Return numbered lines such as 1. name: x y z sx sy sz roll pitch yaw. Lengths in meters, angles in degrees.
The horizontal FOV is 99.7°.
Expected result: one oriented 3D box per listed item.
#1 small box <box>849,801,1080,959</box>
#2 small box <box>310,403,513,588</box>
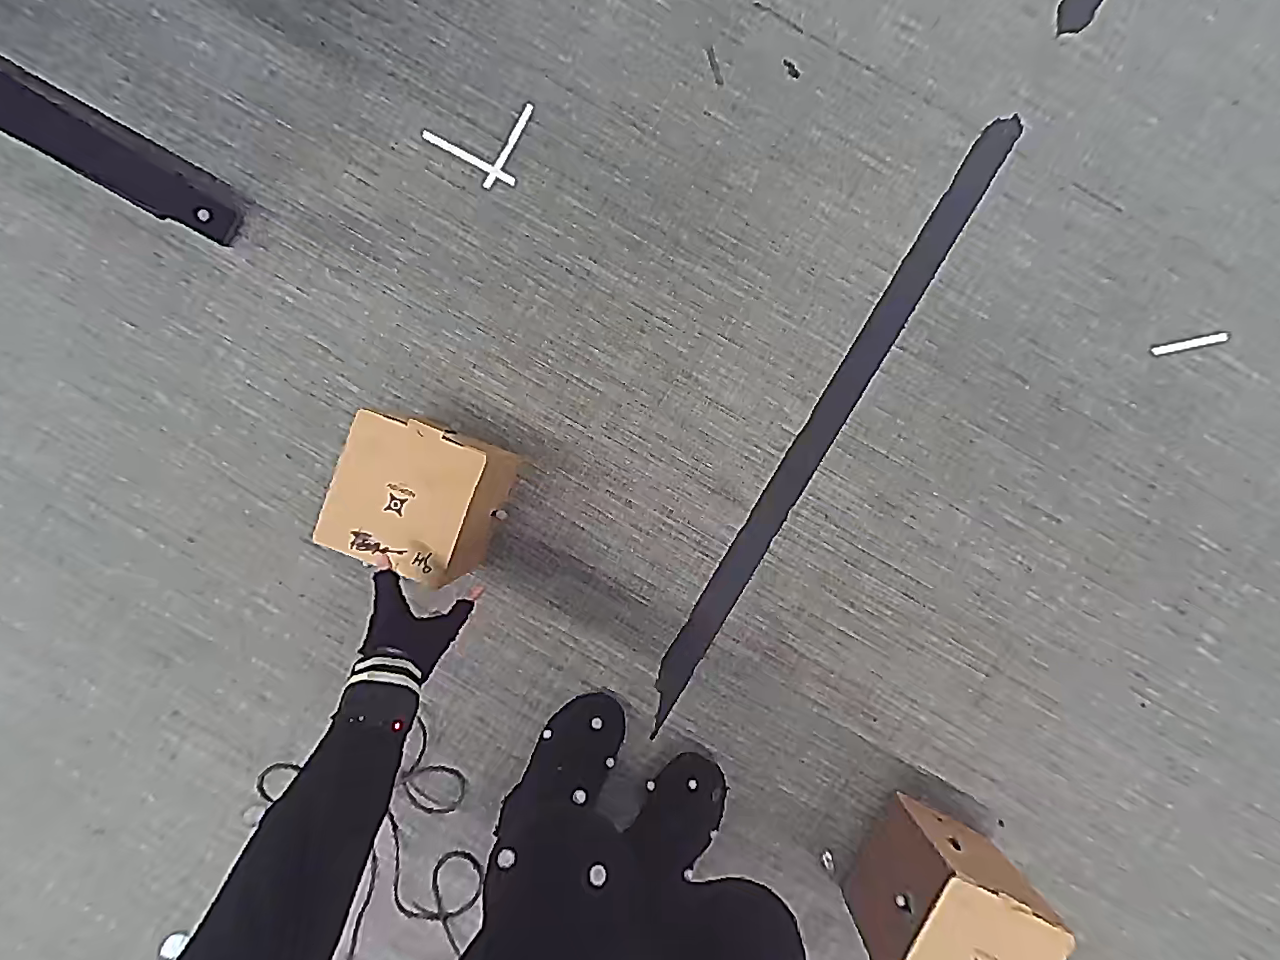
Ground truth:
1. small box: 0.405 0.574 0.712 0.168 0.176 0.179 27 92 2
2. small box: -0.281 0.018 0.712 0.168 0.176 0.179 21 90 1
